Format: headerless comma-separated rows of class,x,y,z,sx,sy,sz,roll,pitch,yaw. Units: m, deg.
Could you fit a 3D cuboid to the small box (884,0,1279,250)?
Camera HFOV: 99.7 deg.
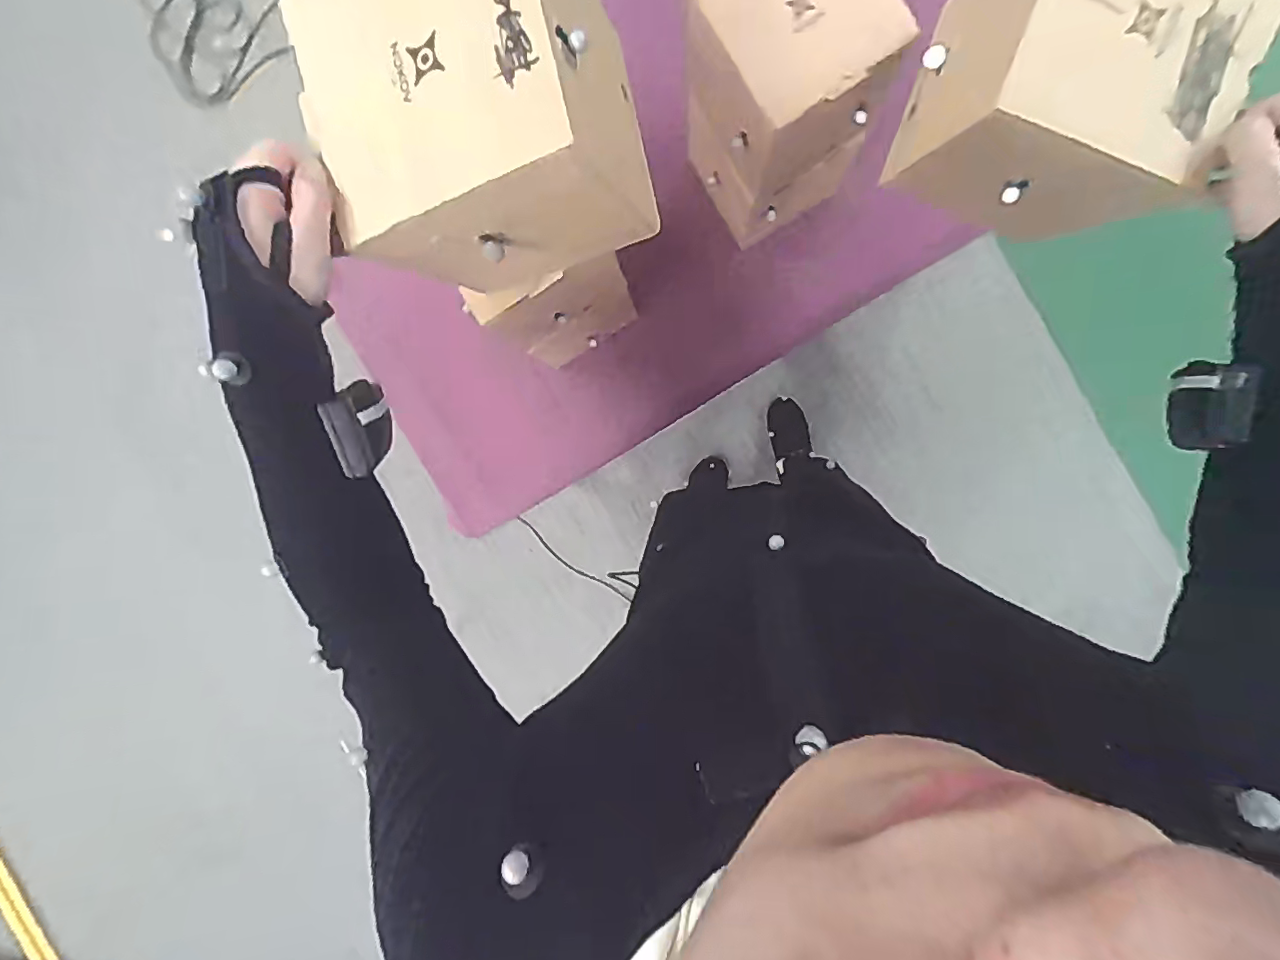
small box,0.344,-0.307,0.443,0.179,0.176,0.168,18,100,-6

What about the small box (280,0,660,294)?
small box,-0.104,-0.248,0.387,0.179,0.176,0.168,-11,94,21

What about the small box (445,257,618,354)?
small box,-0.143,-0.276,0.651,0.168,0.176,0.179,-32,91,6

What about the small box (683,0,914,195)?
small box,0.164,-0.458,0.610,0.168,0.176,0.179,-31,90,6

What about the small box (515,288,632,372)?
small box,-0.128,-0.284,0.812,0.168,0.176,0.179,-31,91,7
